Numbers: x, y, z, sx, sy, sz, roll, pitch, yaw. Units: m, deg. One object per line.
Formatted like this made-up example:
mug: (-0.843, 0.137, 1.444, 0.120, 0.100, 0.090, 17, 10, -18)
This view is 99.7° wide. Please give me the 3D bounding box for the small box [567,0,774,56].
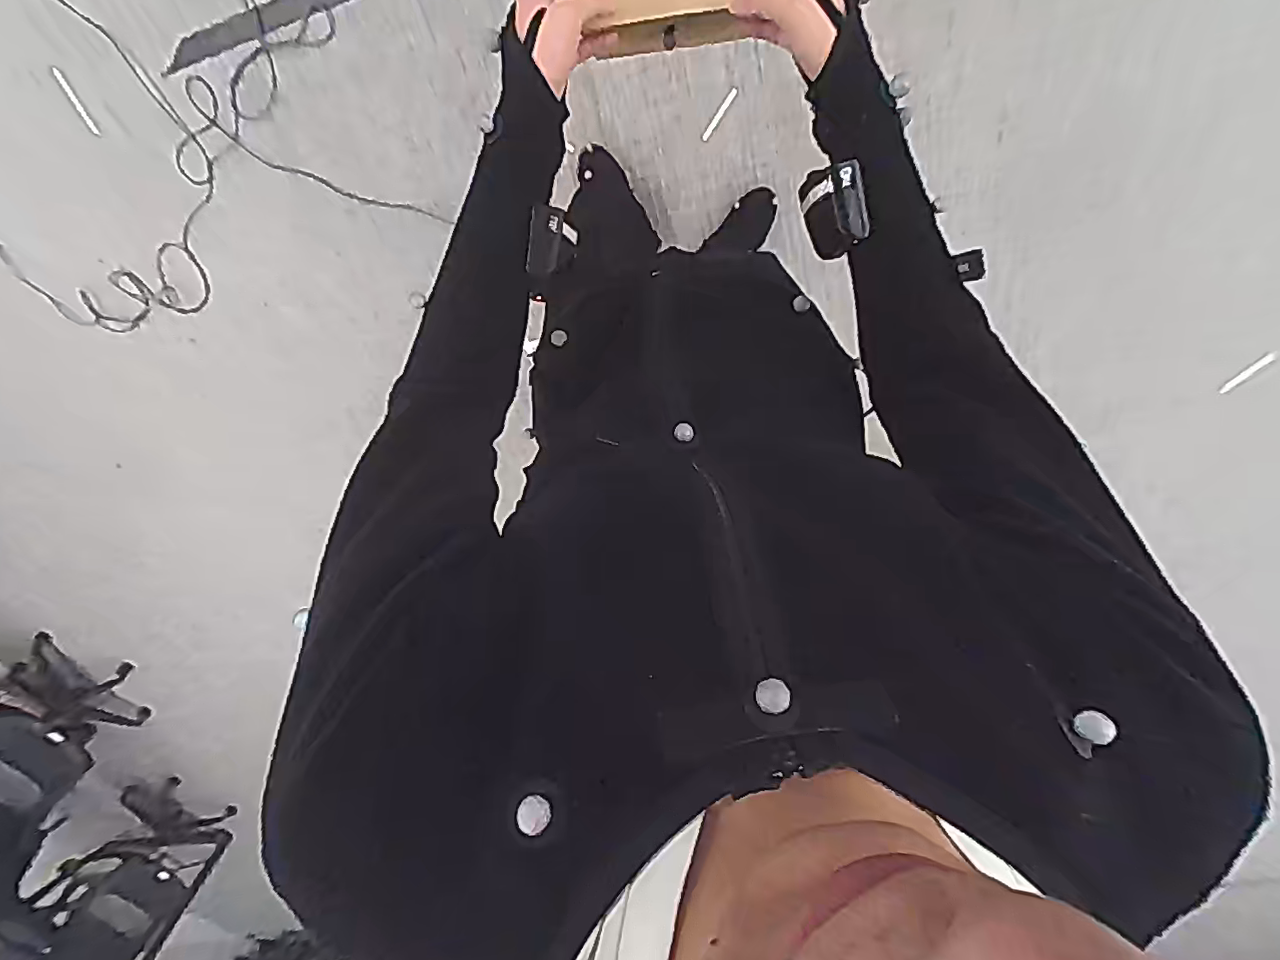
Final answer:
small box: (0.022, -0.492, 0.471, 0.179, 0.176, 0.168, -5, 121, 3)
